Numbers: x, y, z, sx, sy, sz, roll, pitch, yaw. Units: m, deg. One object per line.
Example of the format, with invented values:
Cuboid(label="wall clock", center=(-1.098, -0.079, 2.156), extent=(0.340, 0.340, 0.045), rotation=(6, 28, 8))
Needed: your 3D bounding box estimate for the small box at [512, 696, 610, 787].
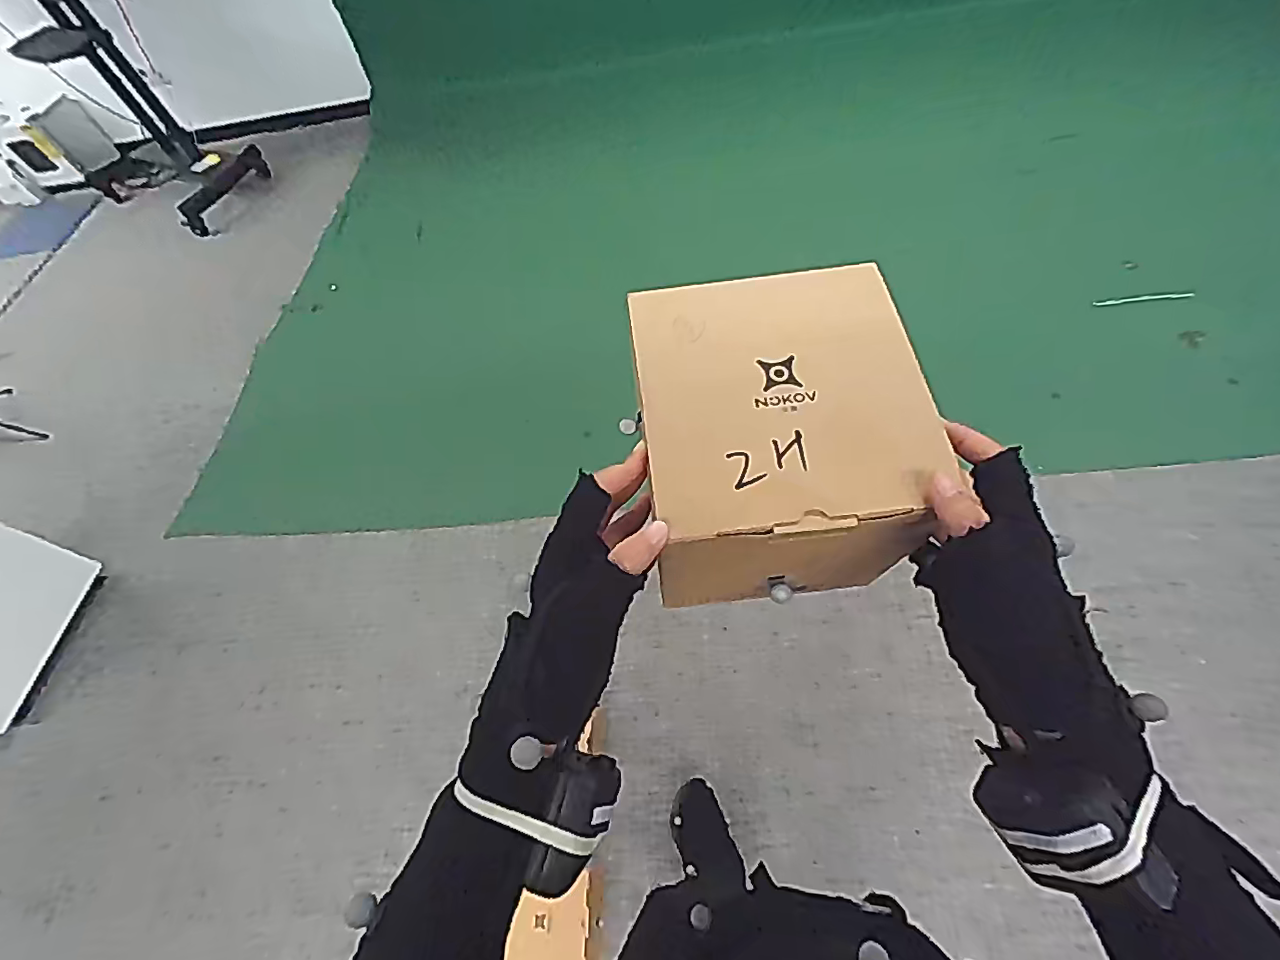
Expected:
Cuboid(label="small box", center=(-0.174, 0.613, 1.262), extent=(0.179, 0.176, 0.168), rotation=(0, 57, 11))

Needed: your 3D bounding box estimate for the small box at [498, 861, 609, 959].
Cuboid(label="small box", center=(-0.166, 0.878, 1.093), extent=(0.179, 0.176, 0.168), rotation=(-4, 57, 6))
